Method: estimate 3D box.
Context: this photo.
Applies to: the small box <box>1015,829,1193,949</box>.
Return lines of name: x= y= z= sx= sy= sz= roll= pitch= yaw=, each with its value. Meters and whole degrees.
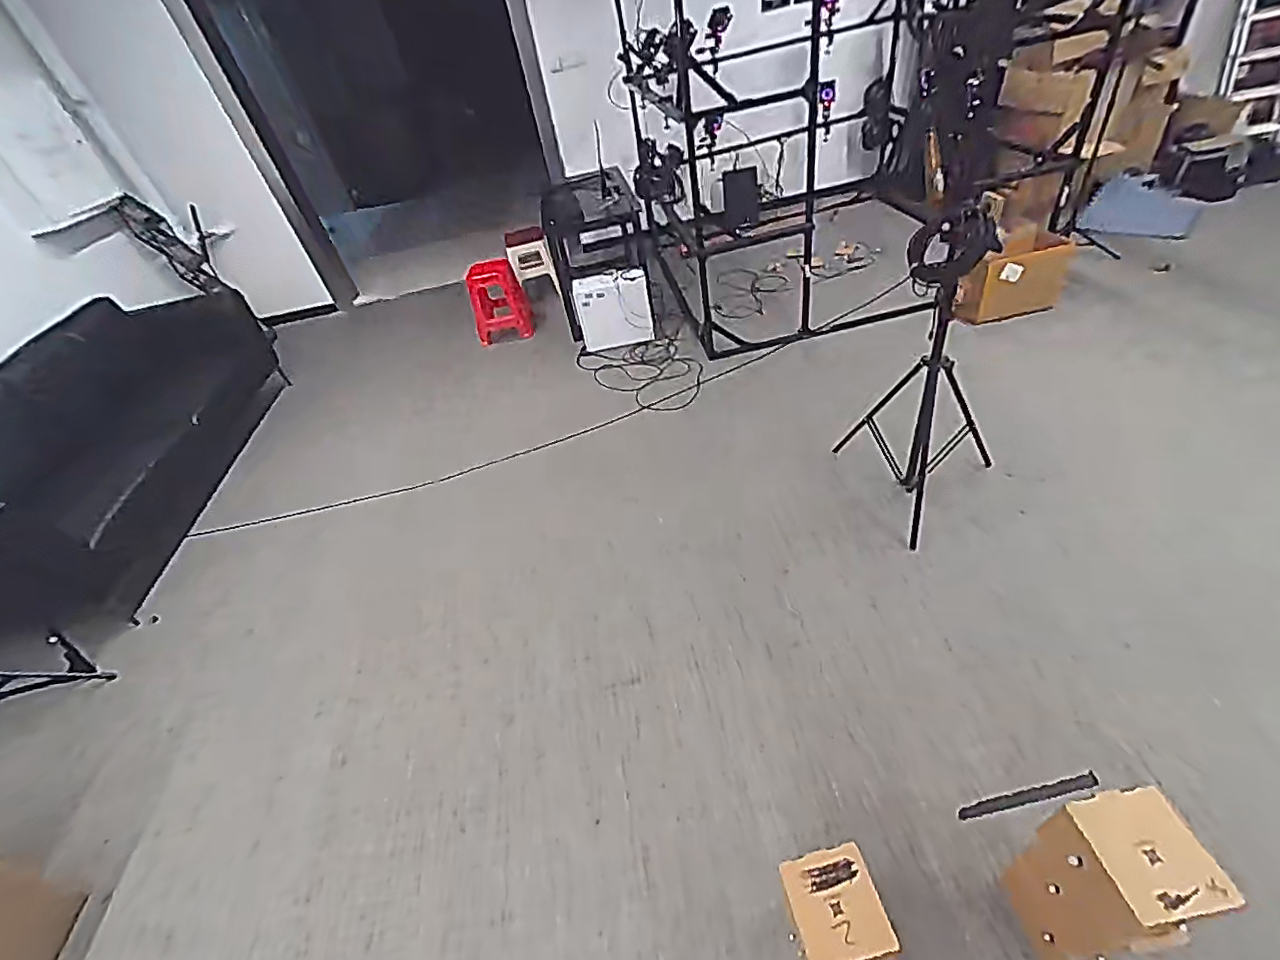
small box: x=0.877 y=0.778 z=1.045 sx=0.168 sy=0.176 sz=0.179 roll=-12 pitch=41 yaw=1

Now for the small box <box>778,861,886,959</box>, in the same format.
small box: x=0.412 y=0.981 z=1.188 sx=0.168 sy=0.176 sz=0.179 roll=-15 pitch=40 yaw=-1

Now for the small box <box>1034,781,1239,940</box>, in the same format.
small box: x=0.835 y=0.659 z=0.938 sx=0.168 sy=0.176 sz=0.179 roll=-12 pitch=40 yaw=1

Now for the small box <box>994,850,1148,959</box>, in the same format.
small box: x=0.898 y=0.901 z=1.152 sx=0.168 sy=0.176 sz=0.179 roll=-12 pitch=42 yaw=1
